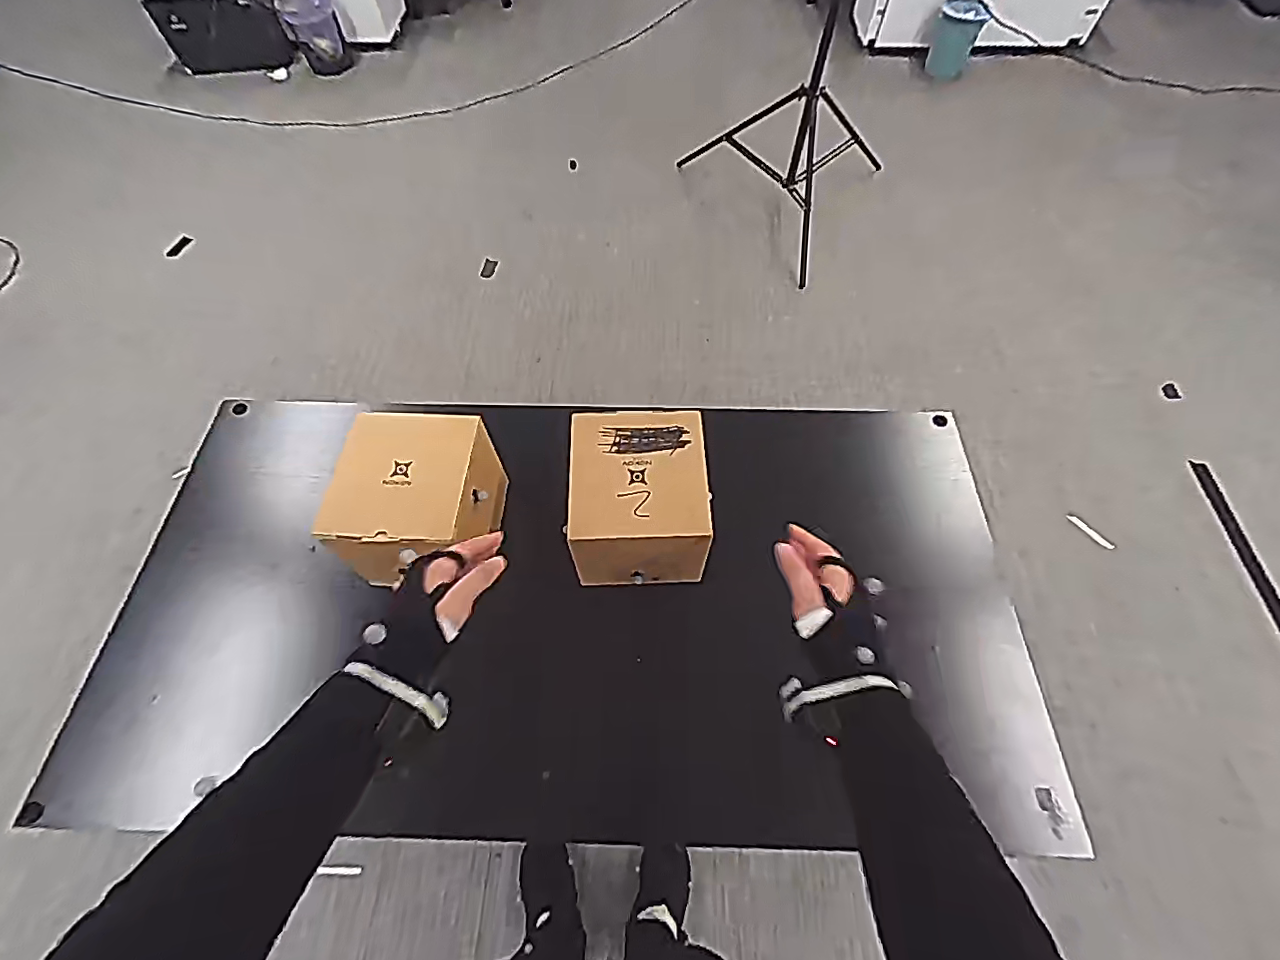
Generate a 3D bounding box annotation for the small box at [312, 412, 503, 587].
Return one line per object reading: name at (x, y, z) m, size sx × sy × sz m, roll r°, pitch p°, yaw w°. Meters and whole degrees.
small box at (-0.290, 0.030, 0.723) m, size 0.168 × 0.176 × 0.179 m, roll 2°, pitch 61°, yaw 2°
